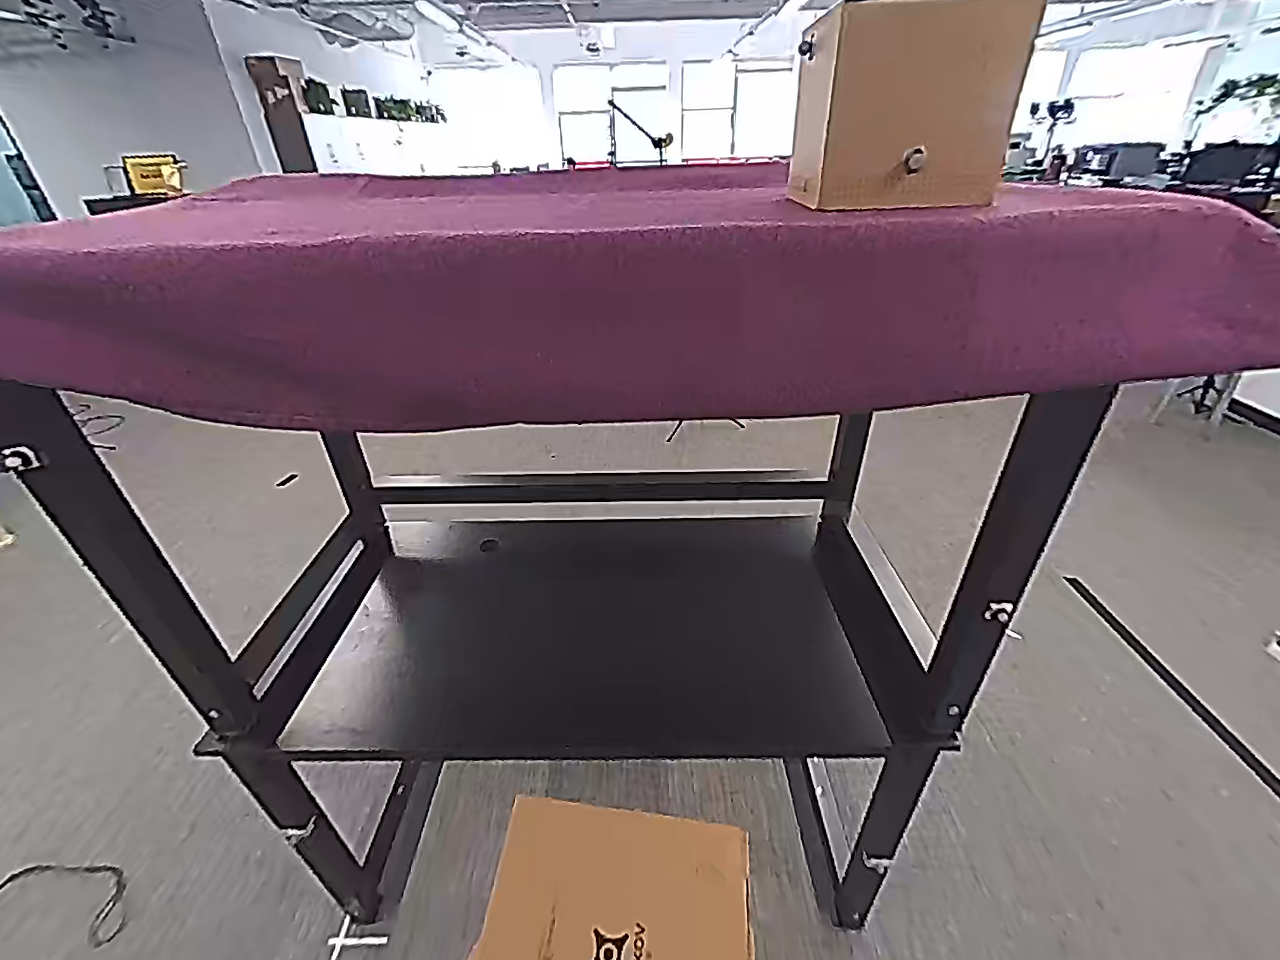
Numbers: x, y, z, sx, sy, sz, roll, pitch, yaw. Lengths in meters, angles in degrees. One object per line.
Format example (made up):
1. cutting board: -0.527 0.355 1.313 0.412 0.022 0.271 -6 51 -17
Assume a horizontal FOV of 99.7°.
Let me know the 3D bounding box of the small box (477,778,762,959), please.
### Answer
1. small box: -0.014 0.346 0.391 0.179 0.176 0.168 6 41 5

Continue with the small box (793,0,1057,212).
1. small box: 0.270 -0.383 0.564 0.179 0.176 0.168 0 31 3
